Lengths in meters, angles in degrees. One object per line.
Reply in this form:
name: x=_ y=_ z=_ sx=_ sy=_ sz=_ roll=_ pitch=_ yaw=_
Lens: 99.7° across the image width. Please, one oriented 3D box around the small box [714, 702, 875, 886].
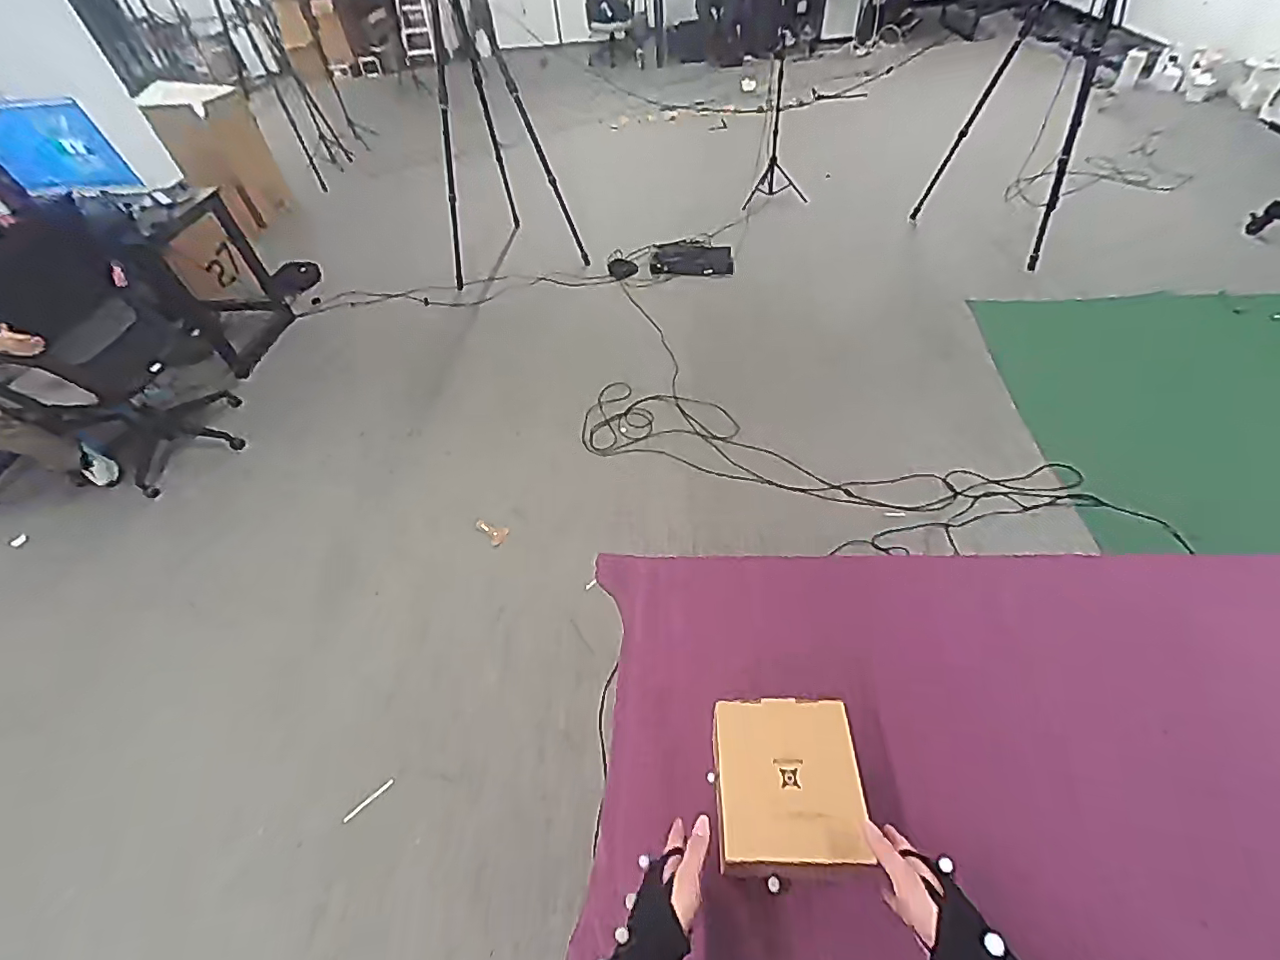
small box: x=0.182 y=0.406 z=0.700 sx=0.168 sy=0.176 sz=0.179 roll=-2 pitch=49 yaw=6
